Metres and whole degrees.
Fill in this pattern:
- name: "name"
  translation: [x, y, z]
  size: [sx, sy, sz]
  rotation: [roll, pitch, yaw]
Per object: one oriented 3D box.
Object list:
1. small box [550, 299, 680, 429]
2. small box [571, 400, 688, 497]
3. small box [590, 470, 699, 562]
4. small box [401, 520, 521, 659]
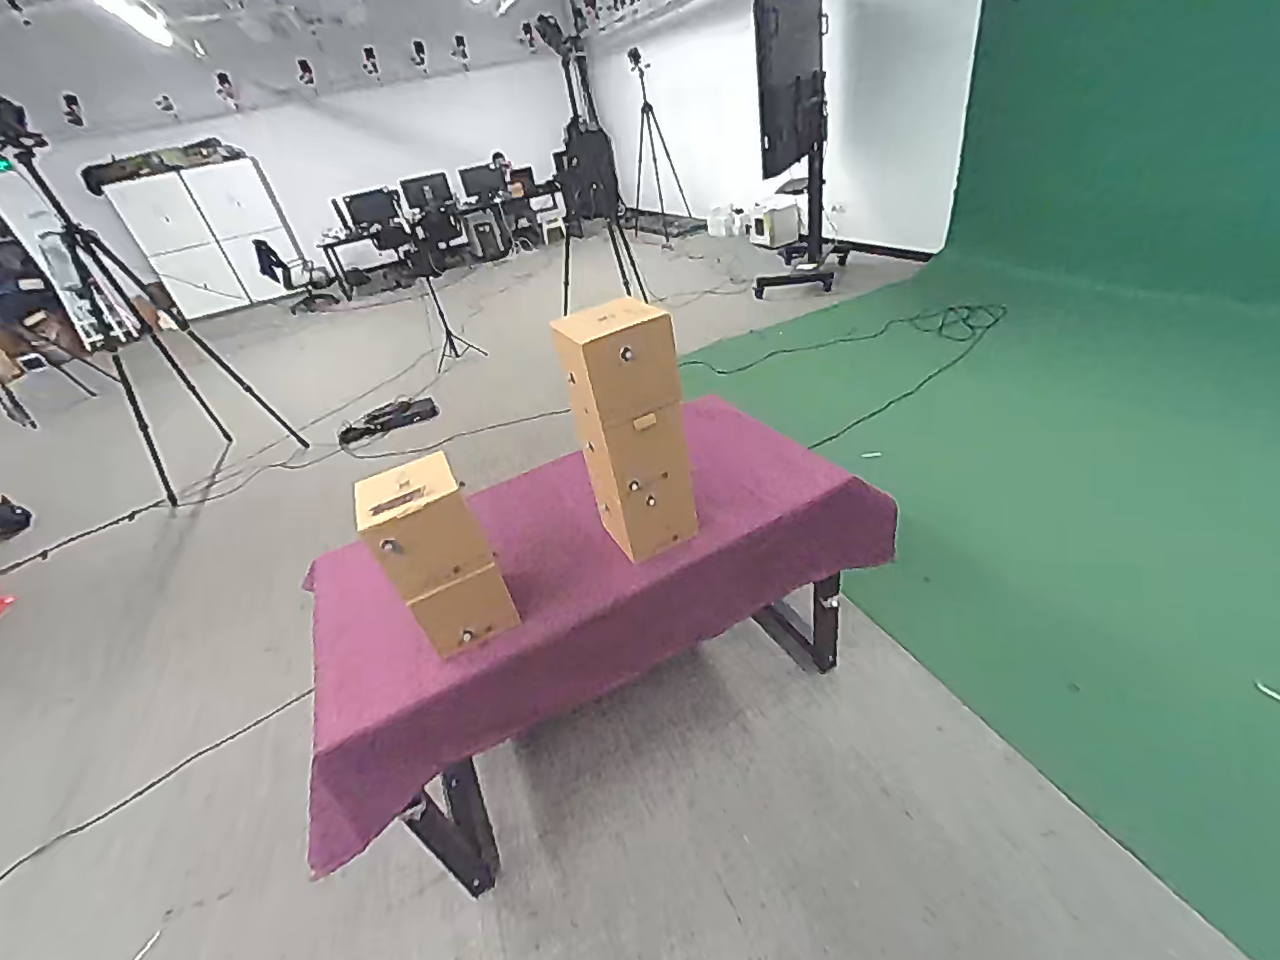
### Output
- name: "small box"
  translation: [-0.044, -0.216, 1.008]
  size: [0.179, 0.176, 0.168]
  rotation: [-24, 37, -17]
- name: "small box"
  translation: [-0.018, -0.085, 1.104]
  size: [0.168, 0.176, 0.179]
  rotation: [-25, 36, -17]
- name: "small box"
  translation: [0.011, 0.049, 1.196]
  size: [0.168, 0.176, 0.179]
  rotation: [-25, 36, -16]
- name: "small box"
  translation: [-0.354, 0.216, 1.072]
  size: [0.168, 0.176, 0.179]
  rotation: [-24, 37, -15]
